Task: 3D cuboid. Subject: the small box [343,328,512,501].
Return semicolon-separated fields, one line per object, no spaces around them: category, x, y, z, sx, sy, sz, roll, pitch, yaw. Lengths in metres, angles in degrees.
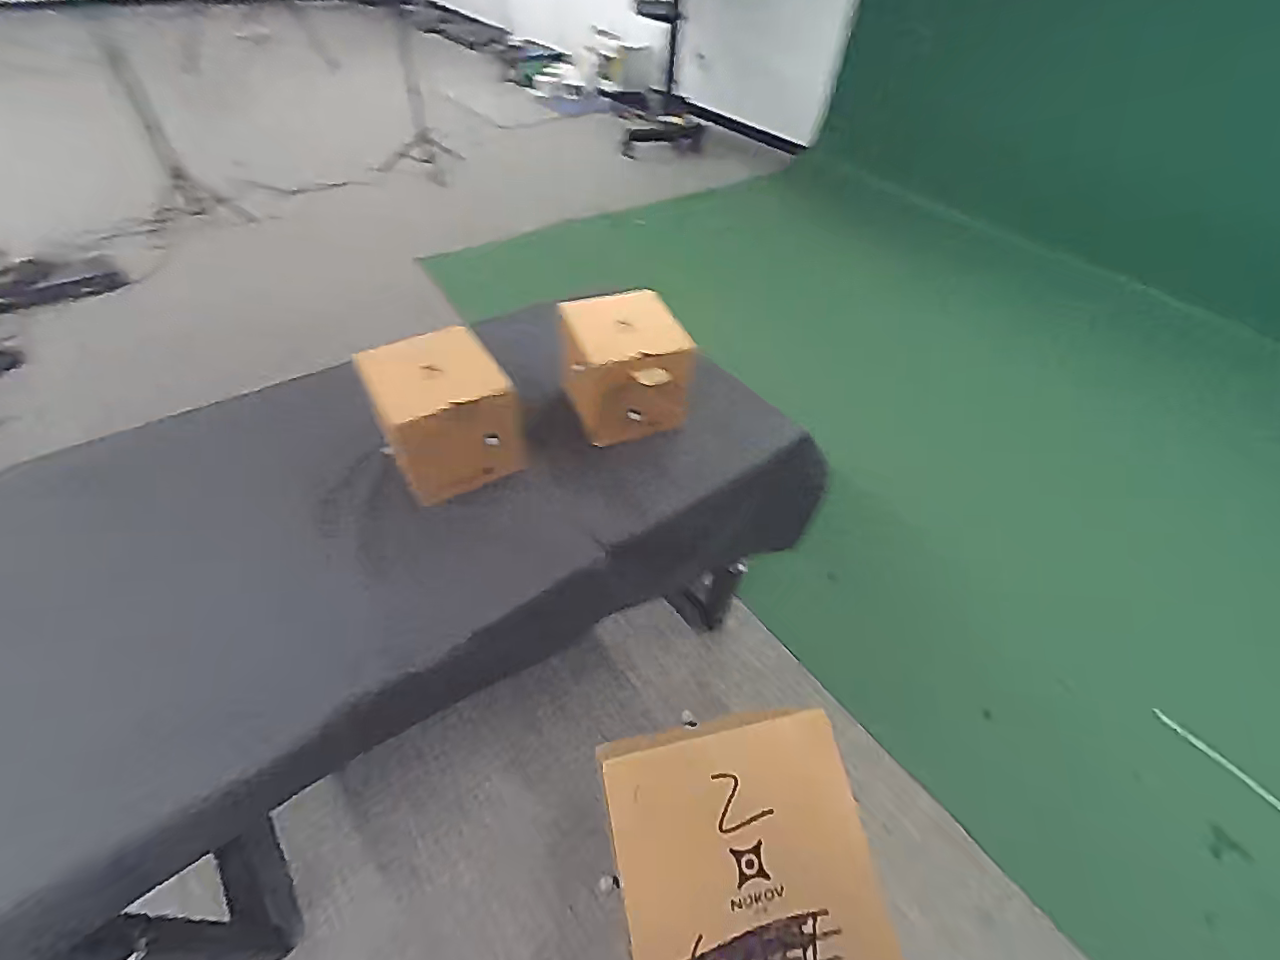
small box;-0.304;-0.091;0.801;0.168;0.176;0.179;-26;54;-26

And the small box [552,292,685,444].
small box;-0.043;-0.189;0.907;0.168;0.176;0.179;-15;52;-18
